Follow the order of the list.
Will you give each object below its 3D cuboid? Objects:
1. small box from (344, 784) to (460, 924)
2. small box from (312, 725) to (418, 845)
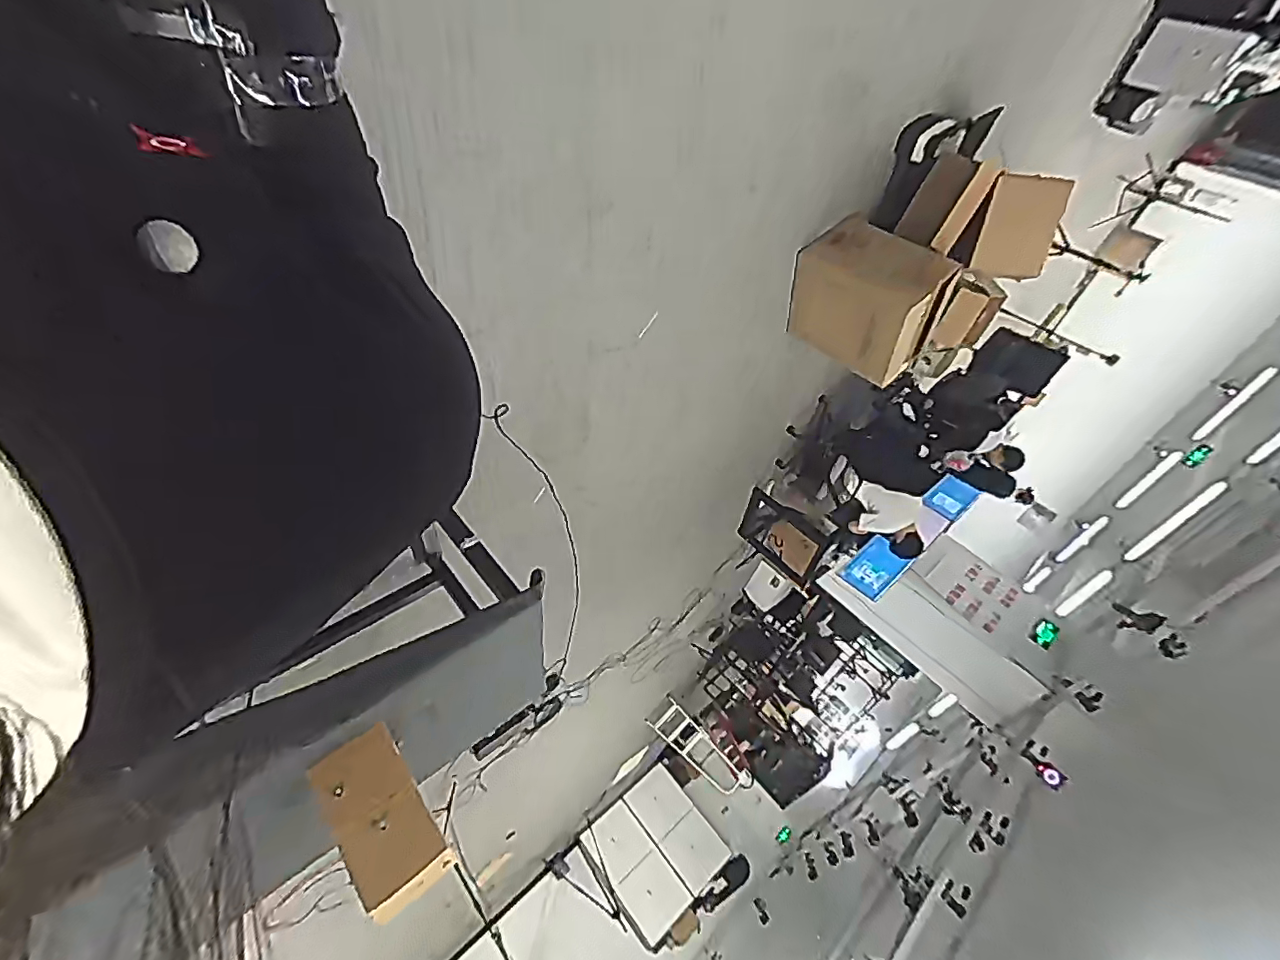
[{"bbox_3d":[-0.523,0.816,1.185,0.179,0.176,0.168,-28,147,-31],"label":"small box"},{"bbox_3d":[-0.630,0.713,1.254,0.179,0.176,0.168,-31,149,-32],"label":"small box"}]
